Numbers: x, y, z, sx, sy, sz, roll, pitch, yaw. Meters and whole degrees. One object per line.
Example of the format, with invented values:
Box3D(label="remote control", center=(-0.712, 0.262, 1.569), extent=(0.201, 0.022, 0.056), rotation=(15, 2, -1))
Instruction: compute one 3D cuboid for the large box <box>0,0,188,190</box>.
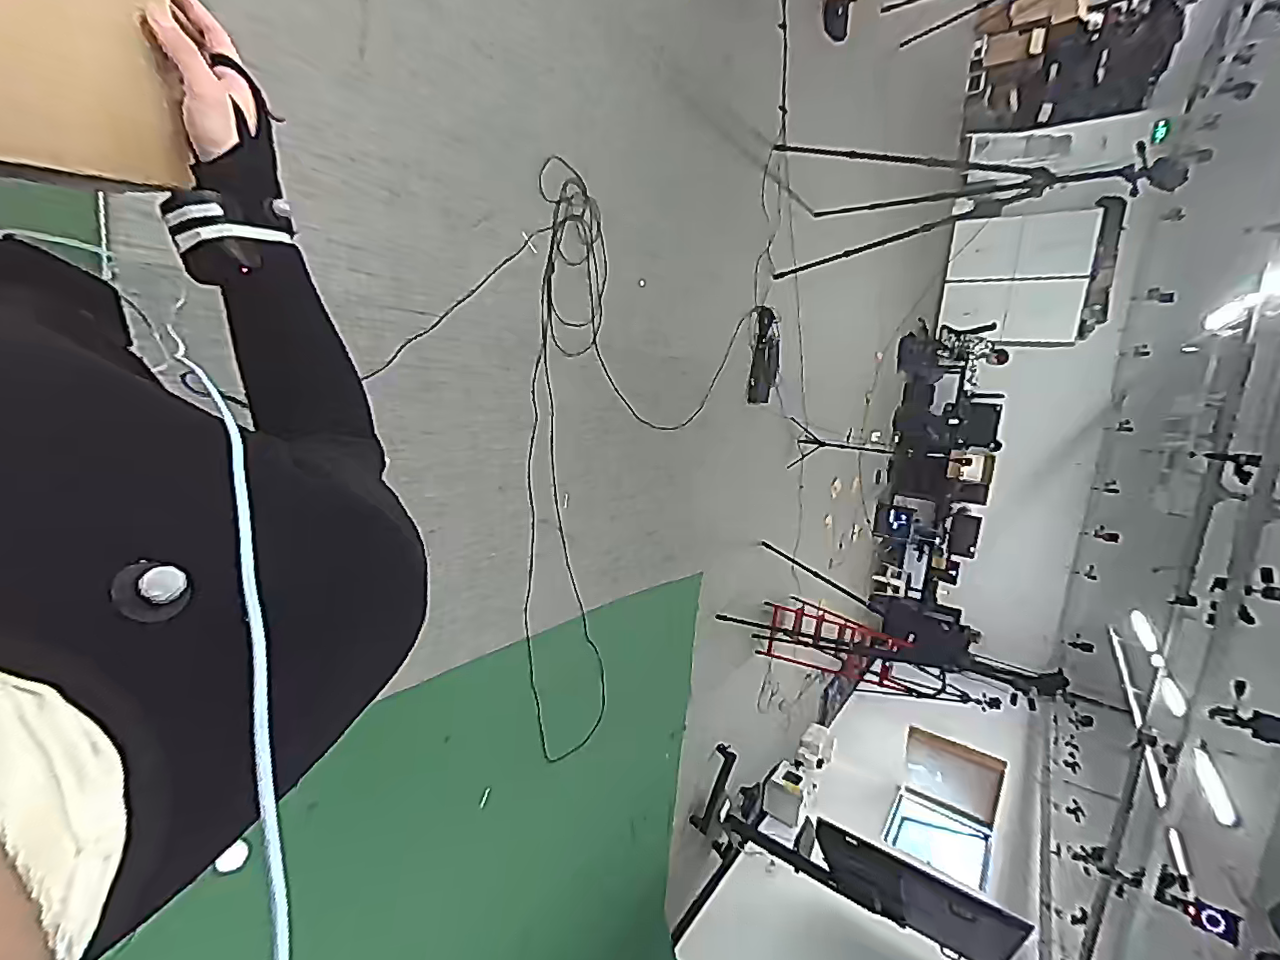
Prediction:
Box3D(label="large box", center=(-0.618, -0.400, 0.357), extent=(0.408, 0.320, 0.320), rotation=(-17, 121, -48))
